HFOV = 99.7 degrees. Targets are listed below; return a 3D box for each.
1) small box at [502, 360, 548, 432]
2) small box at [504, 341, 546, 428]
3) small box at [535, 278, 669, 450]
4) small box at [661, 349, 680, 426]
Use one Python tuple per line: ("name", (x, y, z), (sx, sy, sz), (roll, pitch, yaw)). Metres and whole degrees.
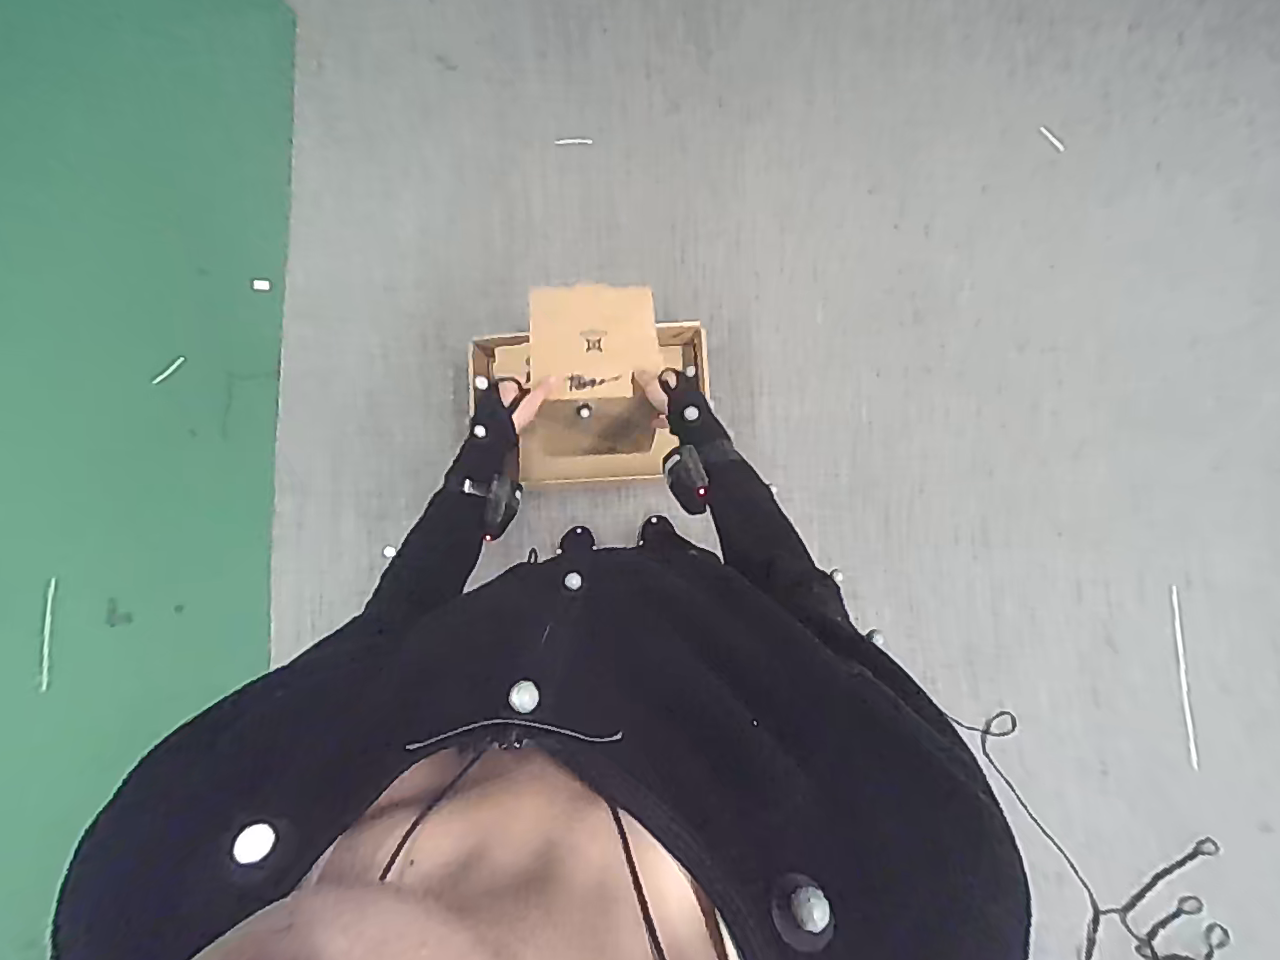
("small box", (-0.256, -0.227, 1.446), (0.179, 0.176, 0.168), (-6, 87, 0))
("small box", (-0.212, -0.222, 1.281), (0.168, 0.176, 0.179), (-7, 87, 0))
("small box", (-0.056, -0.158, 0.762), (0.168, 0.176, 0.179), (-3, 68, -4))
("small box", (0.008, -0.231, 1.434), (0.179, 0.176, 0.168), (-9, 86, 2))
